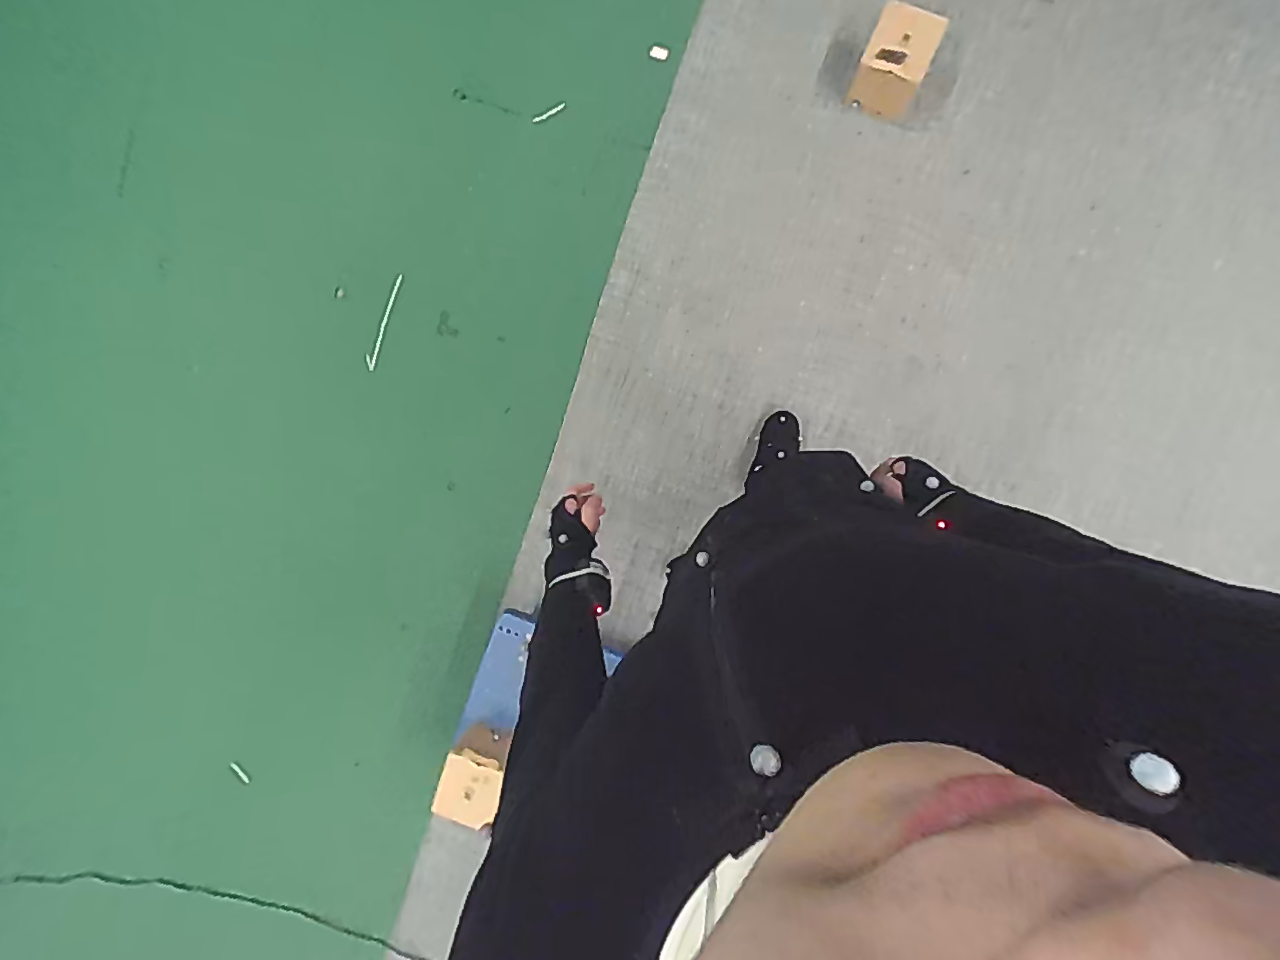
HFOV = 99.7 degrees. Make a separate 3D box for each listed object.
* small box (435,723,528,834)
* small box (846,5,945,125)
[{"bbox_3d":[-0.422,0.802,1.470,0.168,0.176,0.179,19,94,4],"label":"small box"},{"bbox_3d":[0.687,-1.126,1.481,0.168,0.176,0.179,24,94,4],"label":"small box"}]
